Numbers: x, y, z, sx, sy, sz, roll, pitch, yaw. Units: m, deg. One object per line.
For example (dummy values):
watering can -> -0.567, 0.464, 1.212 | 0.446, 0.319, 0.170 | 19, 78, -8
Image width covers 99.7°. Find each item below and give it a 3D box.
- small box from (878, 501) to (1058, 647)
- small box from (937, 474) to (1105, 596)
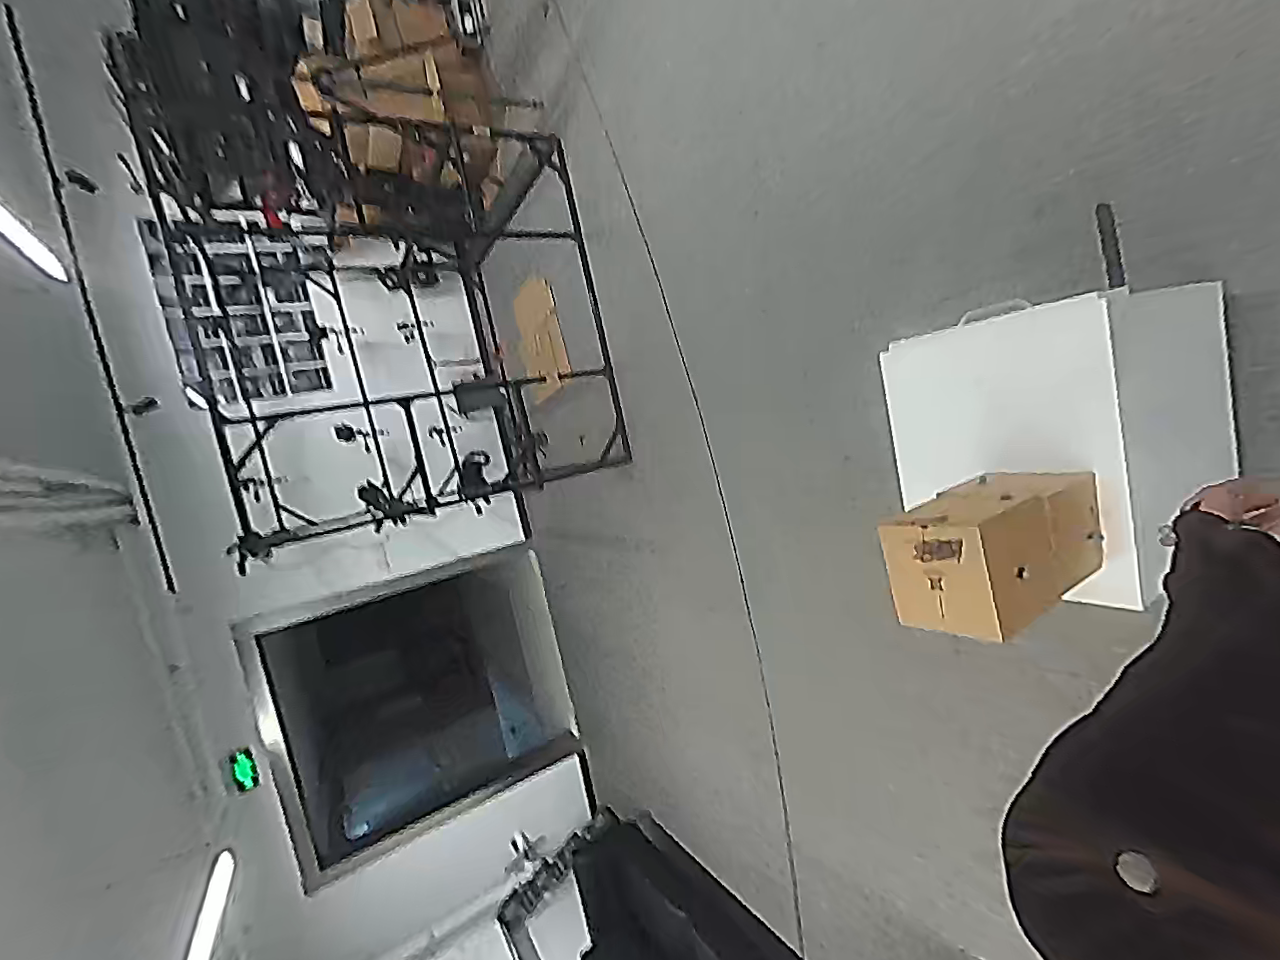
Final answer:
small box -> 0.512, 0.133, 0.848 | 0.168, 0.176, 0.179 | -8, 98, 62
small box -> 0.649, 0.089, 0.927 | 0.179, 0.176, 0.168 | 0, 104, 60
